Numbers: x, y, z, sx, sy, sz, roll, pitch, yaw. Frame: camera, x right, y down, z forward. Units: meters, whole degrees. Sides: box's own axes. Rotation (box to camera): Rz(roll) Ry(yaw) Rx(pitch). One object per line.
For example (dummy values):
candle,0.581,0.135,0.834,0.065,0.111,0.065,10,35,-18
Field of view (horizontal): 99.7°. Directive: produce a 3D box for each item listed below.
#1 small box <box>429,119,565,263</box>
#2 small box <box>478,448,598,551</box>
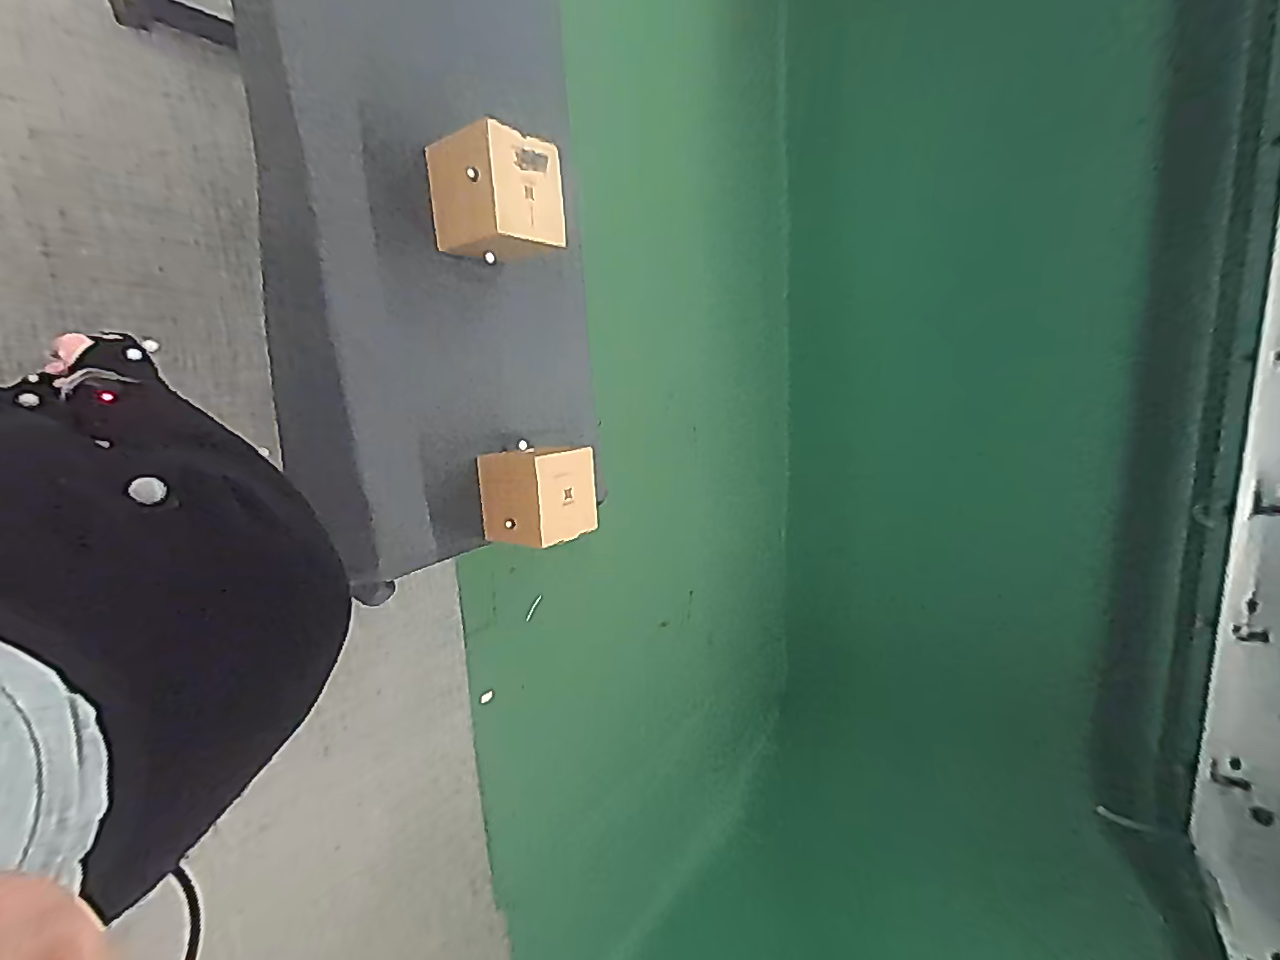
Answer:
small box,-0.257,-0.504,0.972,0.168,0.176,0.179,-18,109,-52
small box,-0.206,0.031,1.096,0.168,0.176,0.179,-17,106,-53
